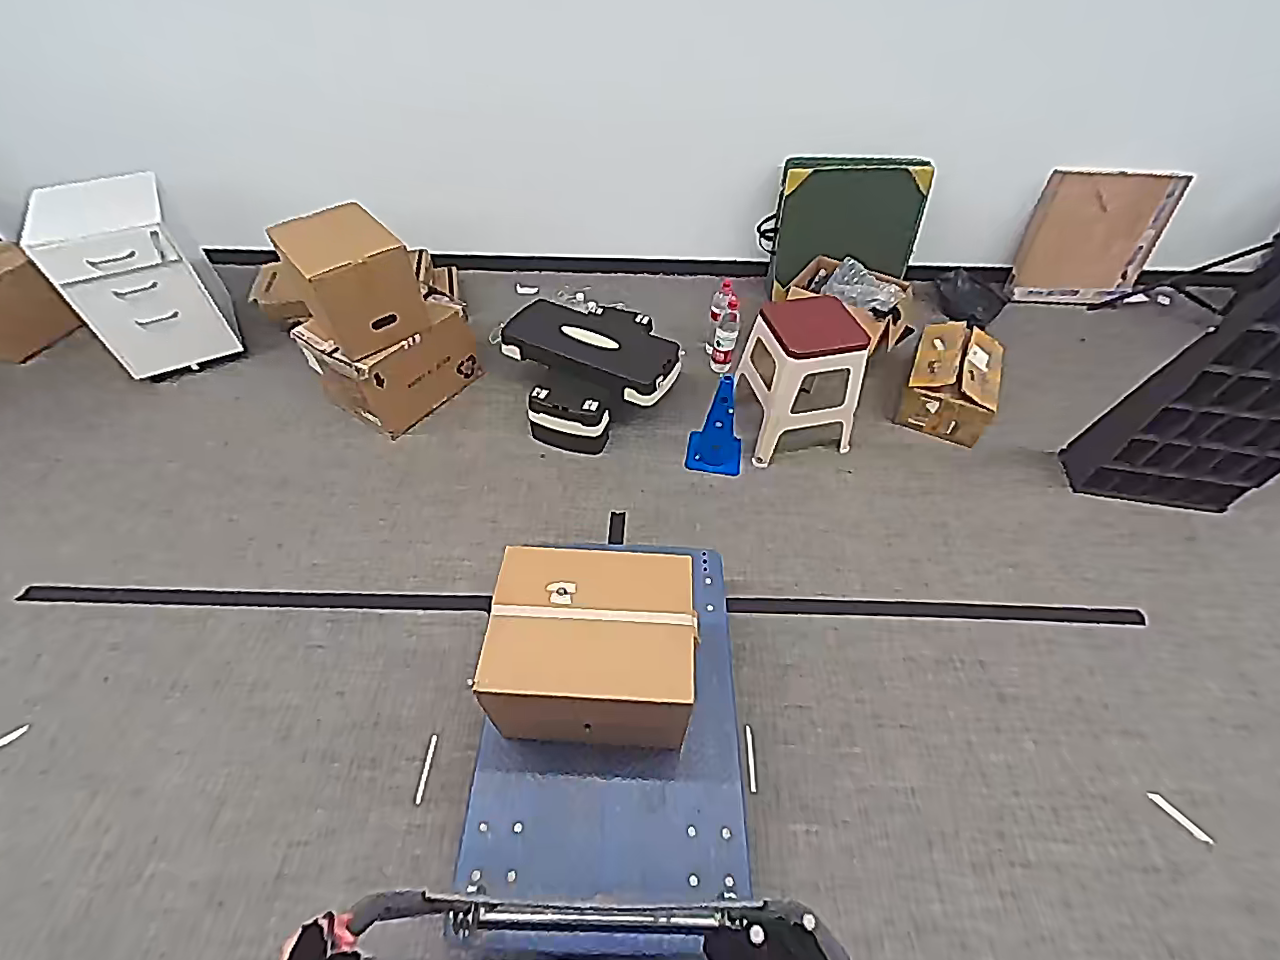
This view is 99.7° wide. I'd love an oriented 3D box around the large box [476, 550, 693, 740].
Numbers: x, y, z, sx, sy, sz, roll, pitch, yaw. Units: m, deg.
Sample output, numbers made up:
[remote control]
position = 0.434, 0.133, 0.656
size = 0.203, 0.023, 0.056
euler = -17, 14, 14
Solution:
[large box]
position = -0.096, 0.369, 1.192
size = 0.408, 0.320, 0.320
euler = 2, 50, 2
